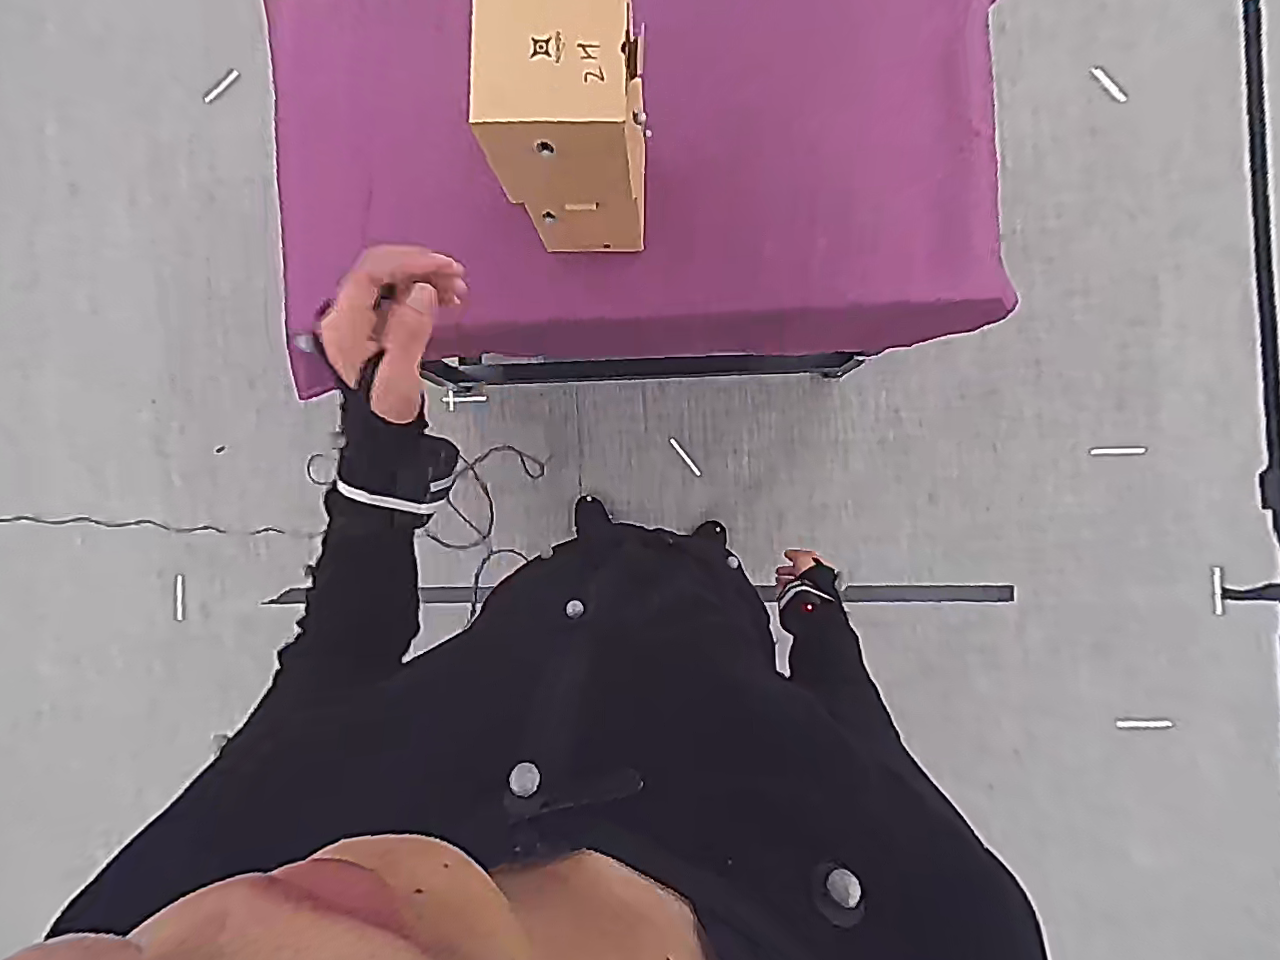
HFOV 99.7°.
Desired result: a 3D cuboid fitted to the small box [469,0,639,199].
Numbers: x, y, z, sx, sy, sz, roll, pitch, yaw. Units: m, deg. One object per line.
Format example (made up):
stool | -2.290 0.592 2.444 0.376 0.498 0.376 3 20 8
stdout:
small box | -0.095 -0.472 0.671 0.179 0.176 0.168 2 89 2
